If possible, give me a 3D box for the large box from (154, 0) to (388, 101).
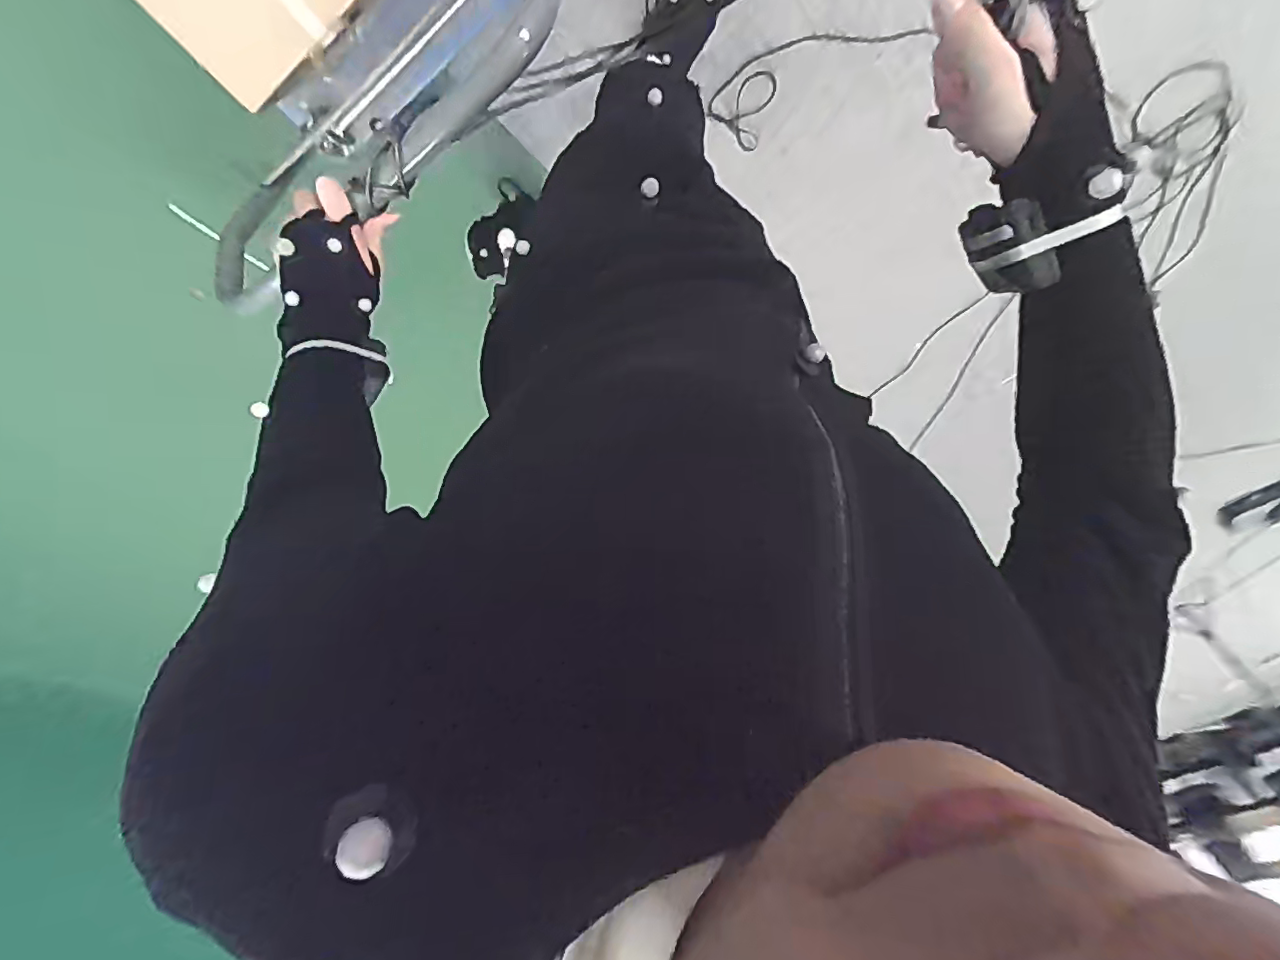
[{"bbox_3d":[-0.533,-0.810,0.694,0.320,0.320,0.408,-30,131,18],"label":"large box"}]
